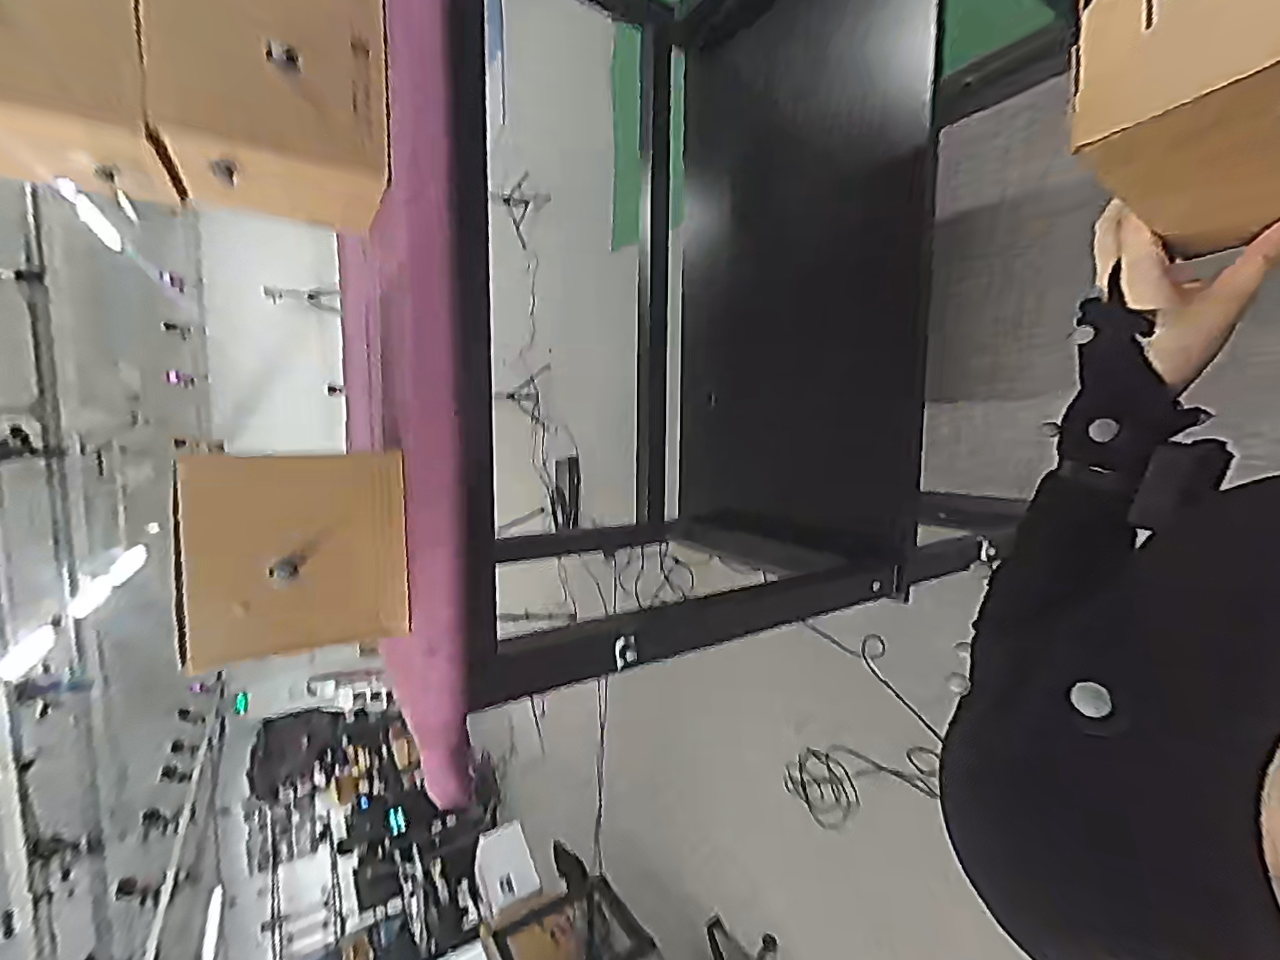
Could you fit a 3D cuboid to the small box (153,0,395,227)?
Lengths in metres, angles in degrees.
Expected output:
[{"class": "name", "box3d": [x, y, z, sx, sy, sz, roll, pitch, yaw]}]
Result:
[{"class": "small box", "box3d": [-0.331, -0.359, 0.508, 0.179, 0.176, 0.168, 10, 101, 57]}]

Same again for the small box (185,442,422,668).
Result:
[{"class": "small box", "box3d": [-0.319, 0.057, 0.529, 0.168, 0.176, 0.179, -1, 92, 56]}]

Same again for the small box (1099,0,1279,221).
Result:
[{"class": "small box", "box3d": [0.349, -0.247, 0.239, 0.179, 0.176, 0.168, 1, 84, 58]}]
